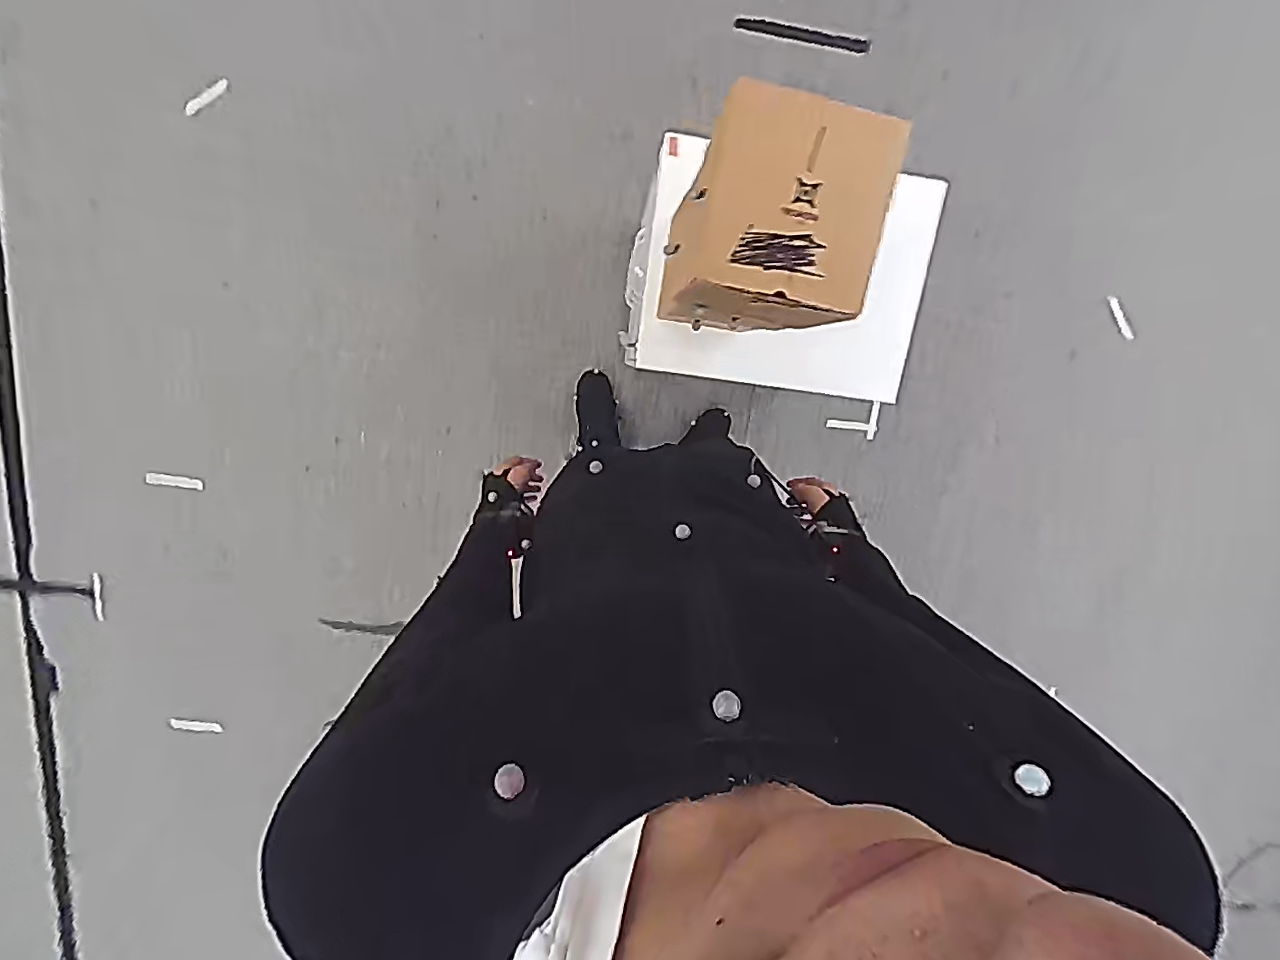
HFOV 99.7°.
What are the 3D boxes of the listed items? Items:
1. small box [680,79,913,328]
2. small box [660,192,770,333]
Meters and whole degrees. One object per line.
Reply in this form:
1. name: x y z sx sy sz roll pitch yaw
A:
1. small box: 0.144 -0.266 0.570 0.168 0.176 0.179 11 101 -6
2. small box: 0.130 -0.344 0.890 0.168 0.176 0.179 8 102 -6
